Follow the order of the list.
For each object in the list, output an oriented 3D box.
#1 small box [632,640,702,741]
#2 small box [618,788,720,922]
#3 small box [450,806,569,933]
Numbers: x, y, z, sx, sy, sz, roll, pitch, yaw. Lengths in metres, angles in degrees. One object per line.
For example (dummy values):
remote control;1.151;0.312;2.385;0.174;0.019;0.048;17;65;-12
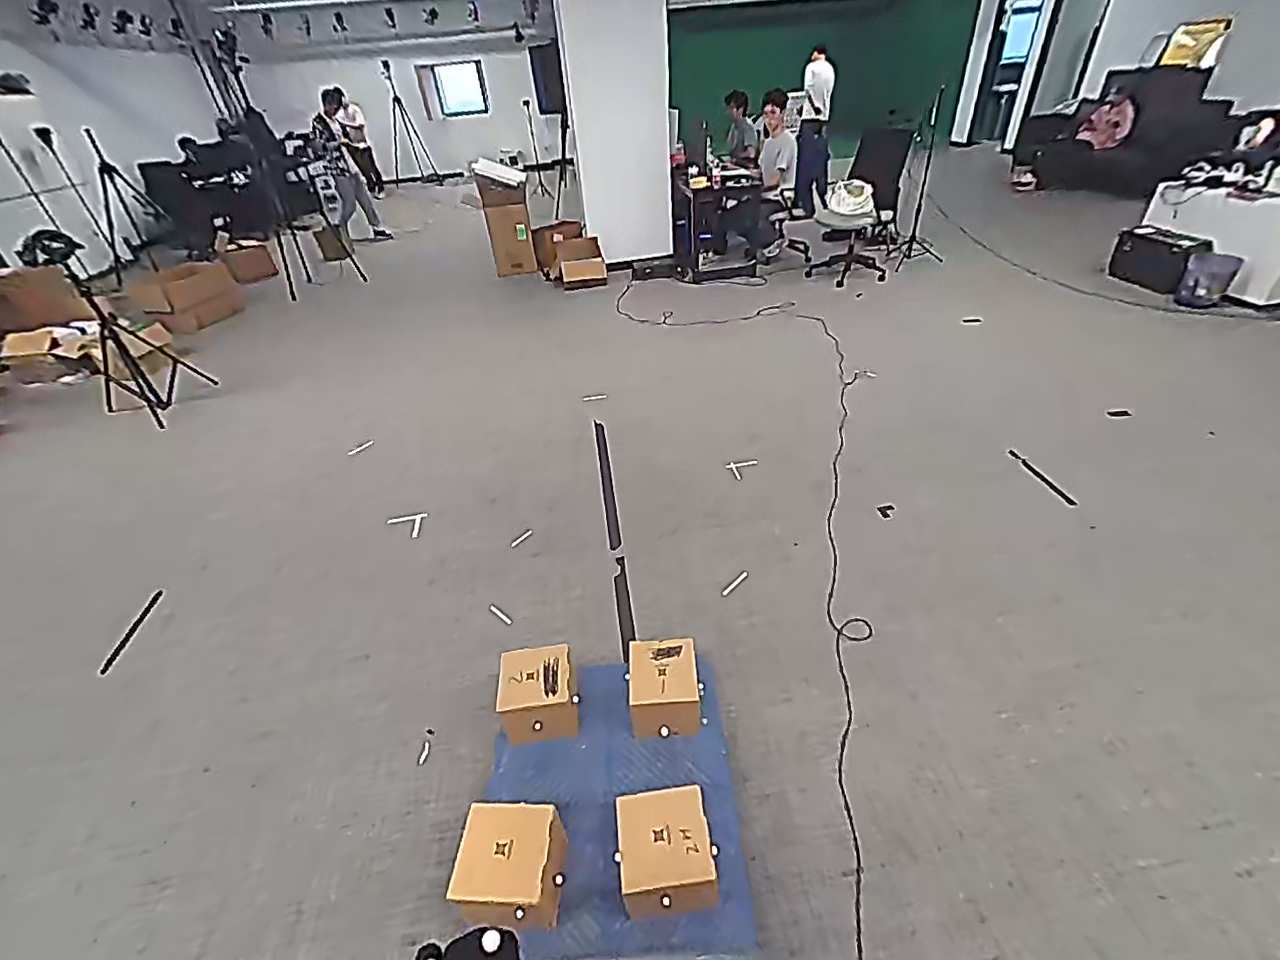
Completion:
small box;0.067;0.532;1.369;0.168;0.176;0.179;-5;38;2
small box;0.058;0.749;1.080;0.179;0.176;0.168;-8;37;-2
small box;-0.250;0.781;1.085;0.179;0.176;0.168;-1;36;4
